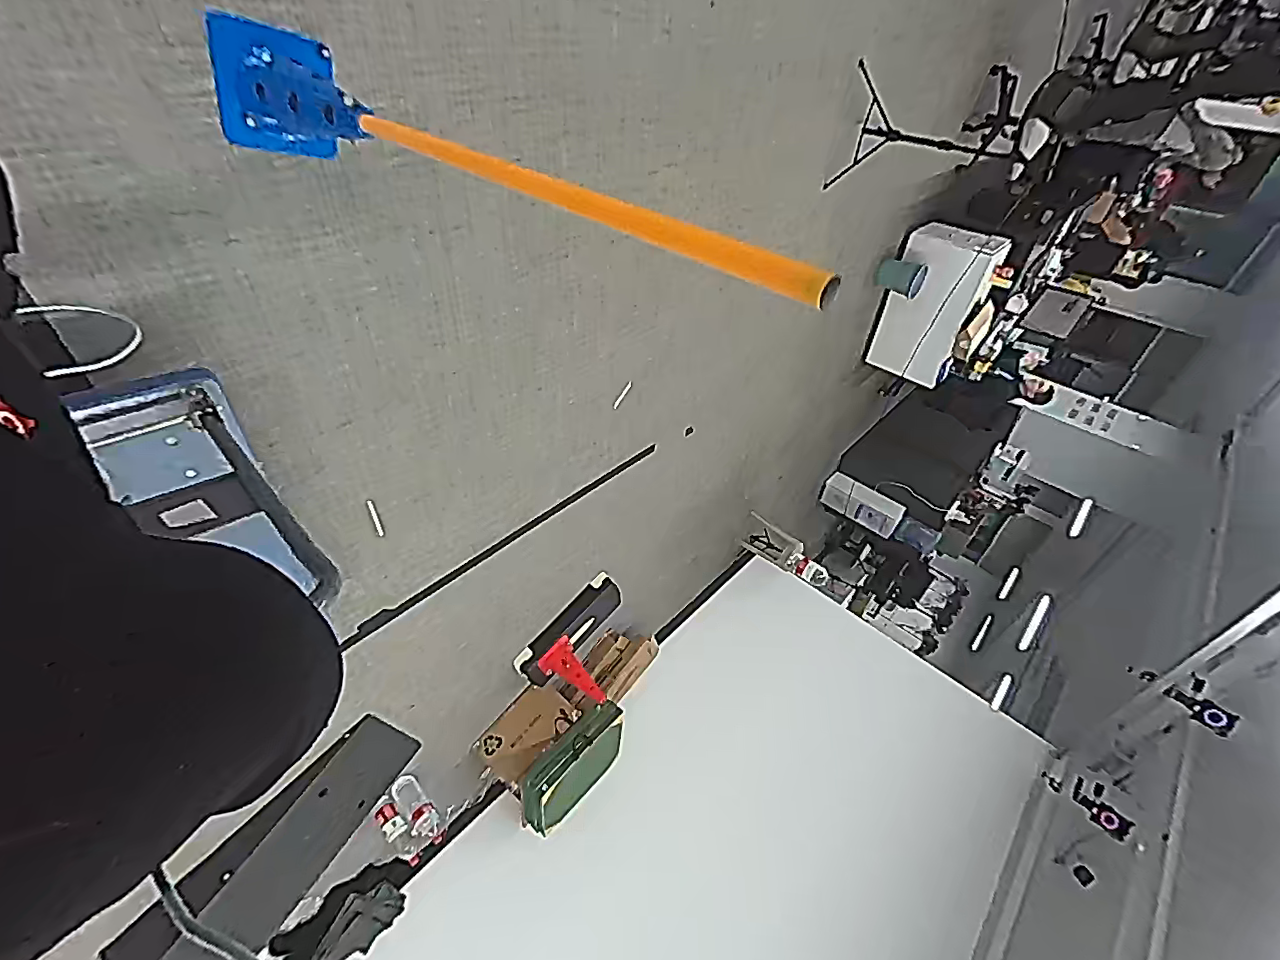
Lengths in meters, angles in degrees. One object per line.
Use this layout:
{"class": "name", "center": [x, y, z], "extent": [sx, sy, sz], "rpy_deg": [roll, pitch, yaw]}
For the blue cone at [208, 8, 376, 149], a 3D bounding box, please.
{"class": "blue cone", "center": [-0.555, -0.655, 0.921], "extent": [0.193, 0.380, 0.192], "rpy_deg": [-20, 134, -46]}
